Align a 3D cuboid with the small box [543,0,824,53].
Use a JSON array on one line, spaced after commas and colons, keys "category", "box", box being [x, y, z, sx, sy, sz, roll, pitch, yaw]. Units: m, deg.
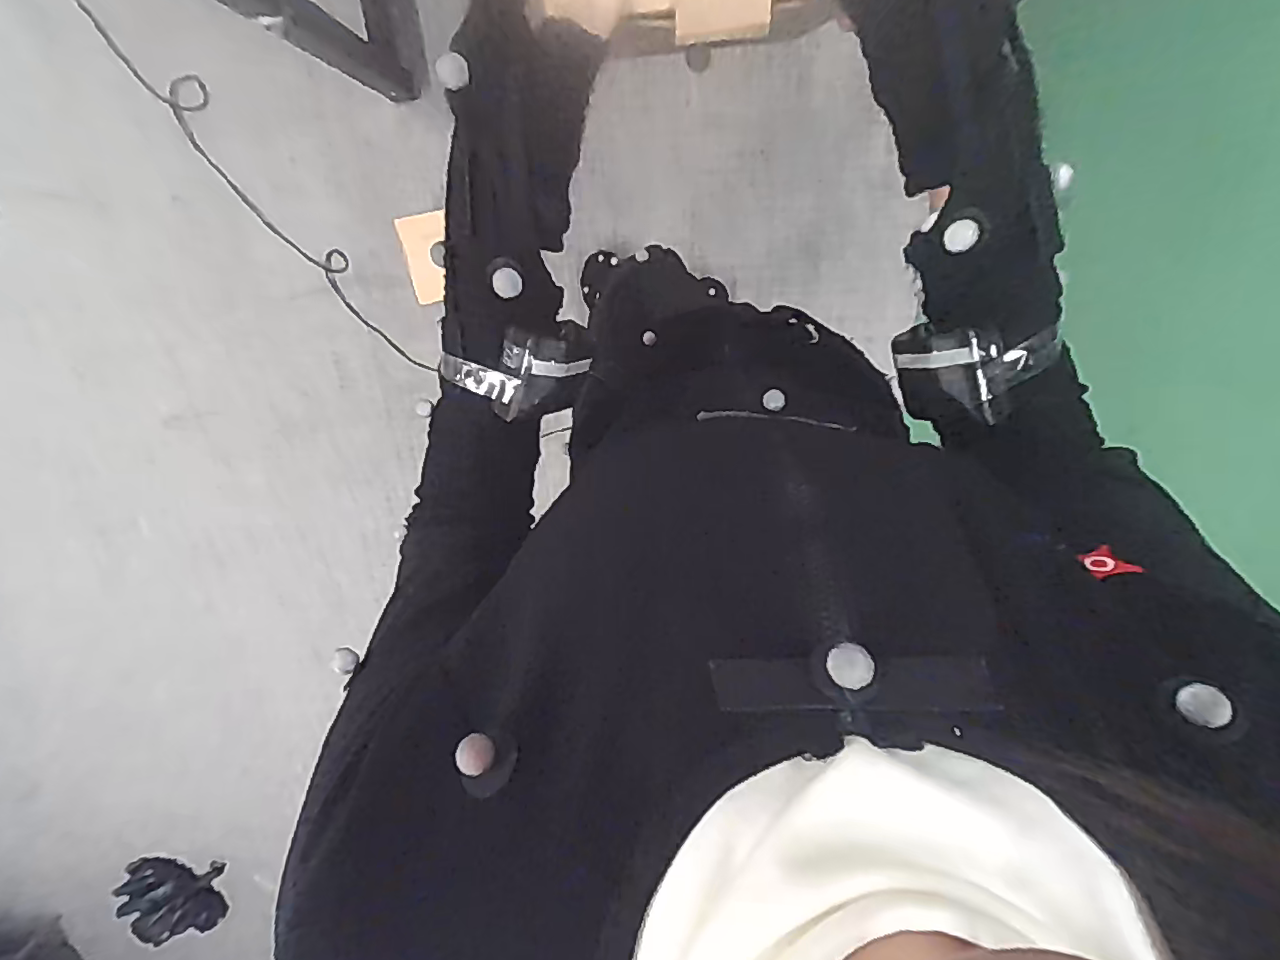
[{"category": "small box", "box": [0.025, -0.338, 0.272, 0.168, 0.176, 0.179, -8, 123, 5]}]
